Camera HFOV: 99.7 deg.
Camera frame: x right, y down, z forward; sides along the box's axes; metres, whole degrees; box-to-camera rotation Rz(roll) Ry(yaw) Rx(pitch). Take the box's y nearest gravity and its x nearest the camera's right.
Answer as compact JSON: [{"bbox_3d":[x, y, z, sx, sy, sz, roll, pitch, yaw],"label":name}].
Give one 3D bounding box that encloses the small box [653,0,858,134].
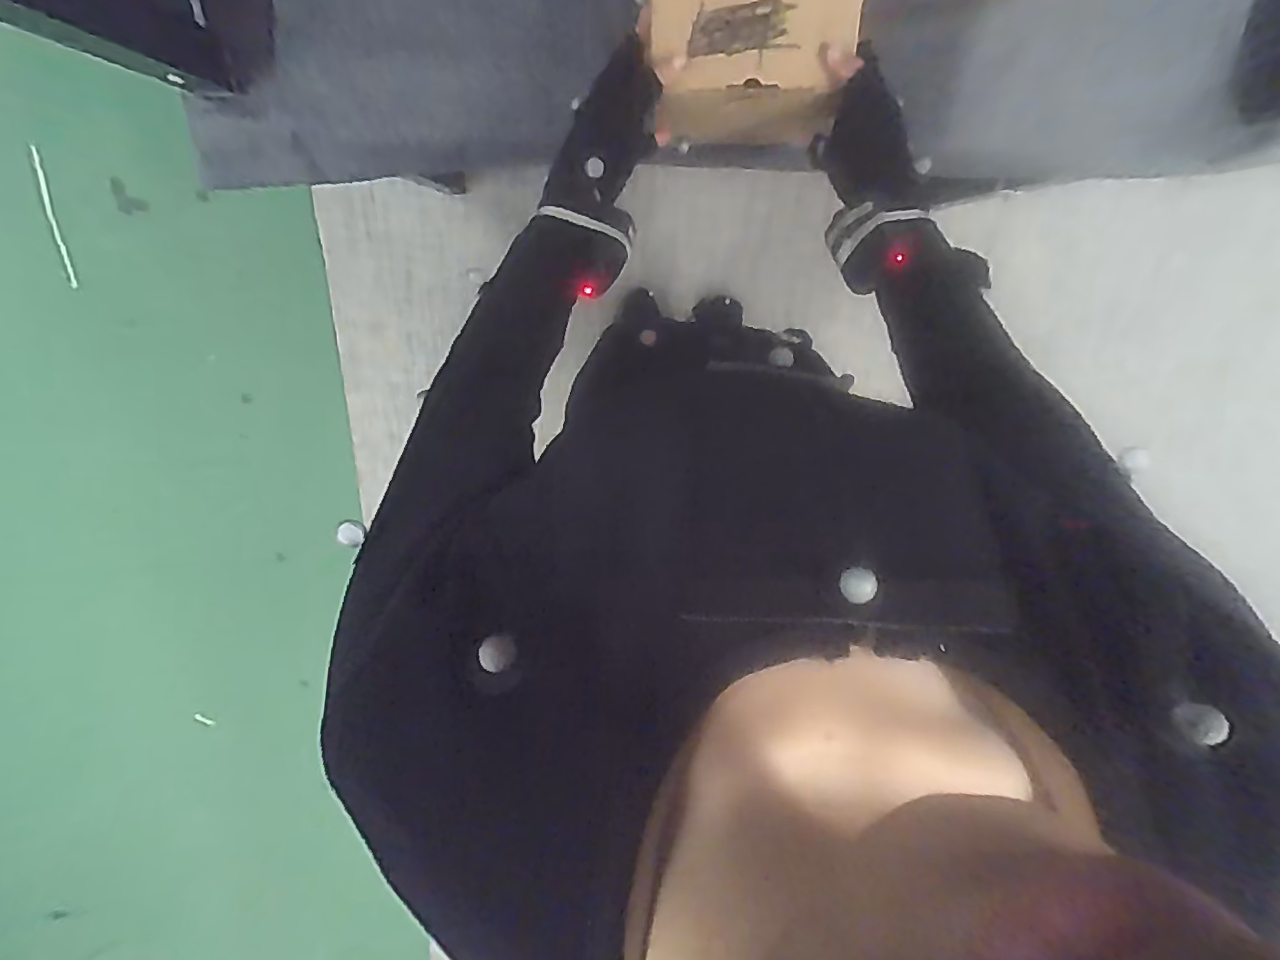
[{"bbox_3d":[0.097,-0.438,0.500,0.168,0.176,0.179,0,108,2],"label":"small box"}]
